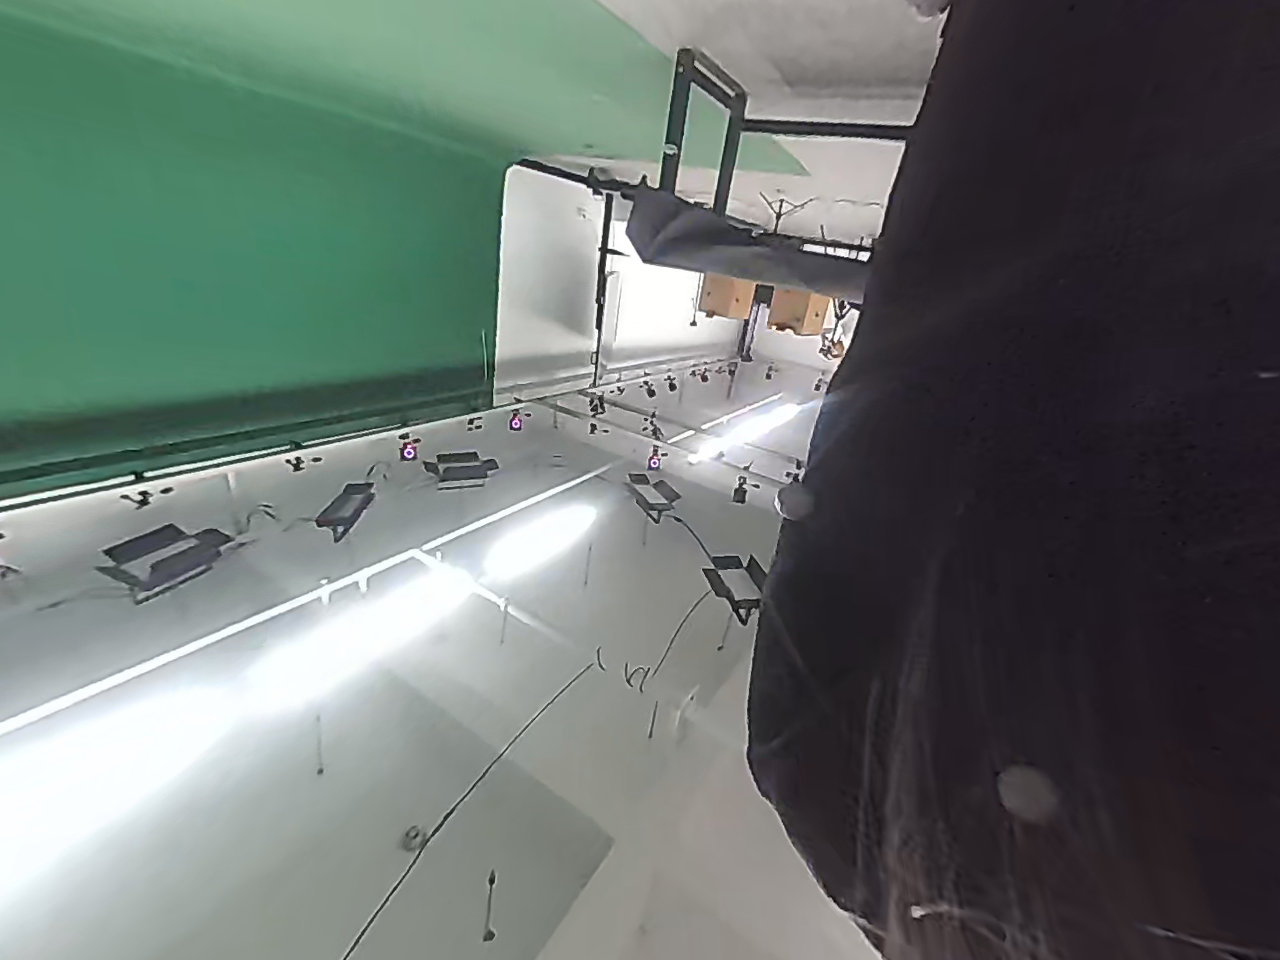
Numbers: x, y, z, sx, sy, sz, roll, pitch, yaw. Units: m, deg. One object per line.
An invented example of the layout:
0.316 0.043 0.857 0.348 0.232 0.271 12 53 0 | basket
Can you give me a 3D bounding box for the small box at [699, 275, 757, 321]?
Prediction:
0.384 -0.791 2.344 0.168 0.176 0.179 28 -150 35 | small box
